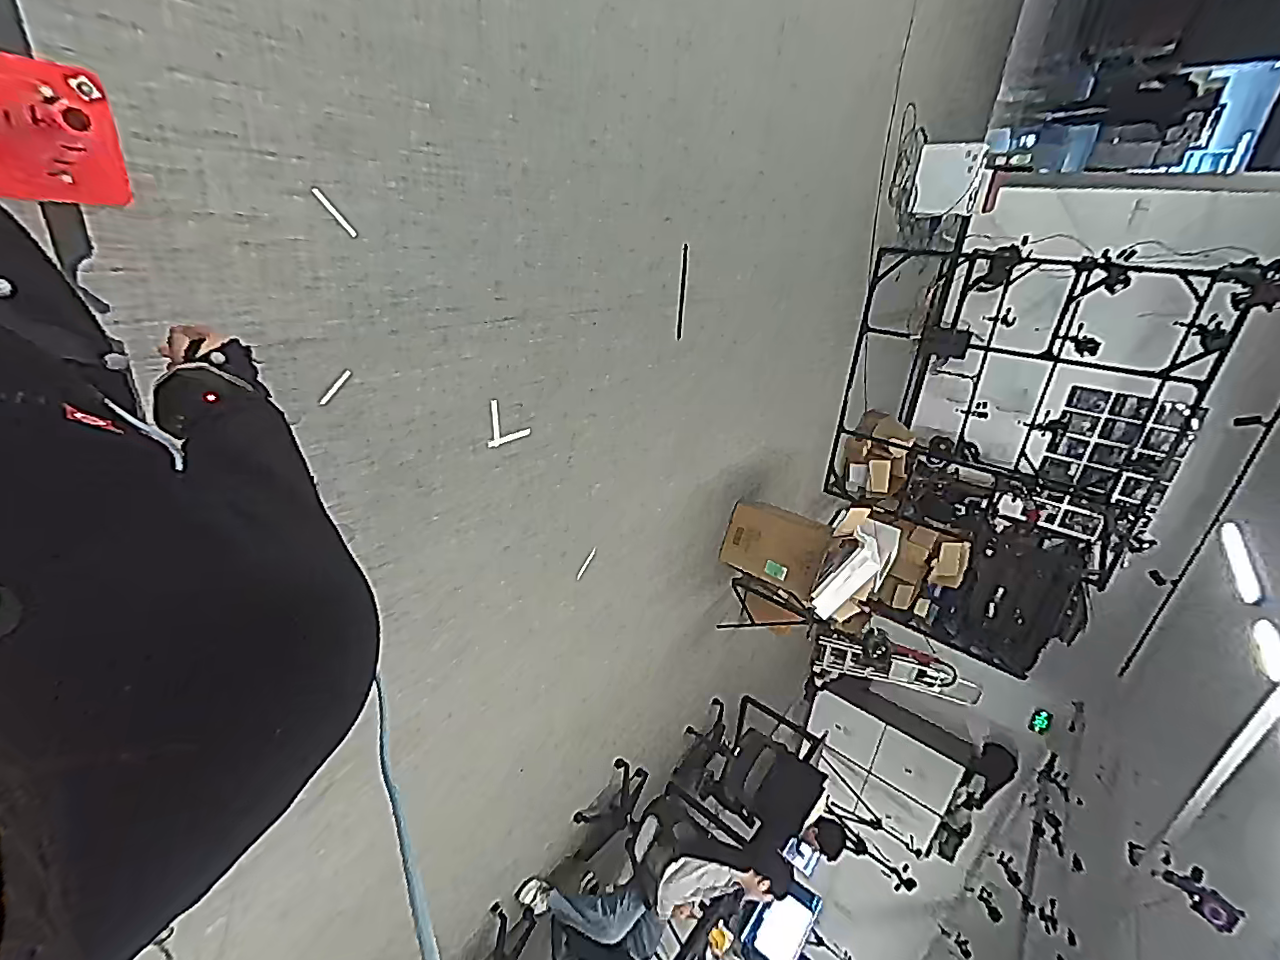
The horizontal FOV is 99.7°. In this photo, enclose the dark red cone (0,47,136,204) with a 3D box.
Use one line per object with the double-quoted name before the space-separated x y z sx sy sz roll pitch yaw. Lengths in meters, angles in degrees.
"dark red cone" -0.810 -0.488 0.744 0.201 0.394 0.202 -24 127 -45
